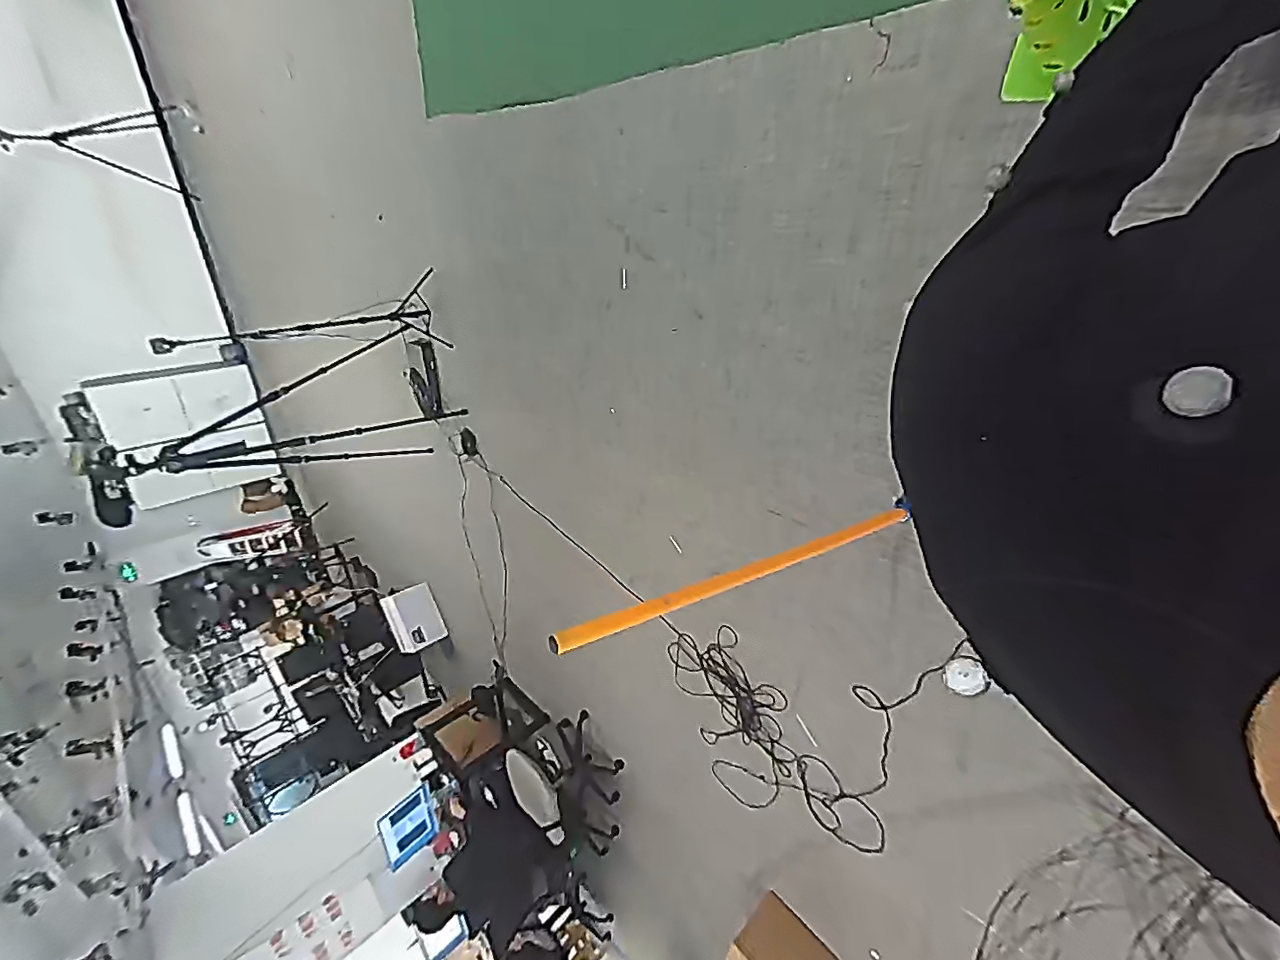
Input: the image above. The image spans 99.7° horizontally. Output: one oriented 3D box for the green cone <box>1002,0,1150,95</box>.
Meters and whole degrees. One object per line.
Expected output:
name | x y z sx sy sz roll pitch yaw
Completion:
green cone | 0.693 -0.792 0.905 0.202 0.368 0.200 29 128 37
